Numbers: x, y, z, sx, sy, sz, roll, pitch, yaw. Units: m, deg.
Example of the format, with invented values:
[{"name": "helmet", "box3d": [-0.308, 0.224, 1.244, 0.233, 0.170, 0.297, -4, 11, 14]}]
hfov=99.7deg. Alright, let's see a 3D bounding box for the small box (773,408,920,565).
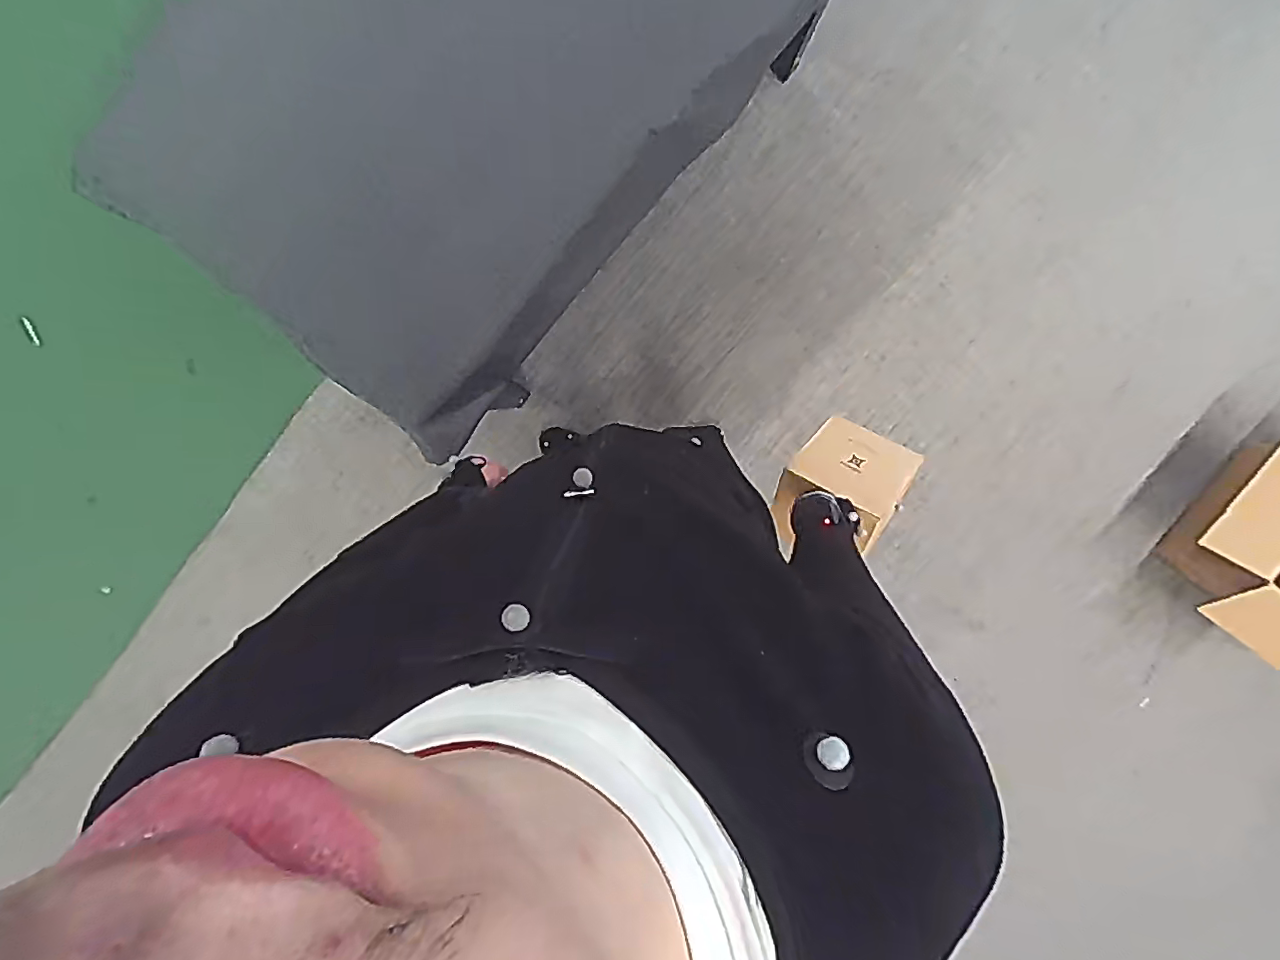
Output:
[{"name": "small box", "box3d": [0.347, 0.014, 0.937, 0.168, 0.176, 0.179, 30, 55, 23]}]
